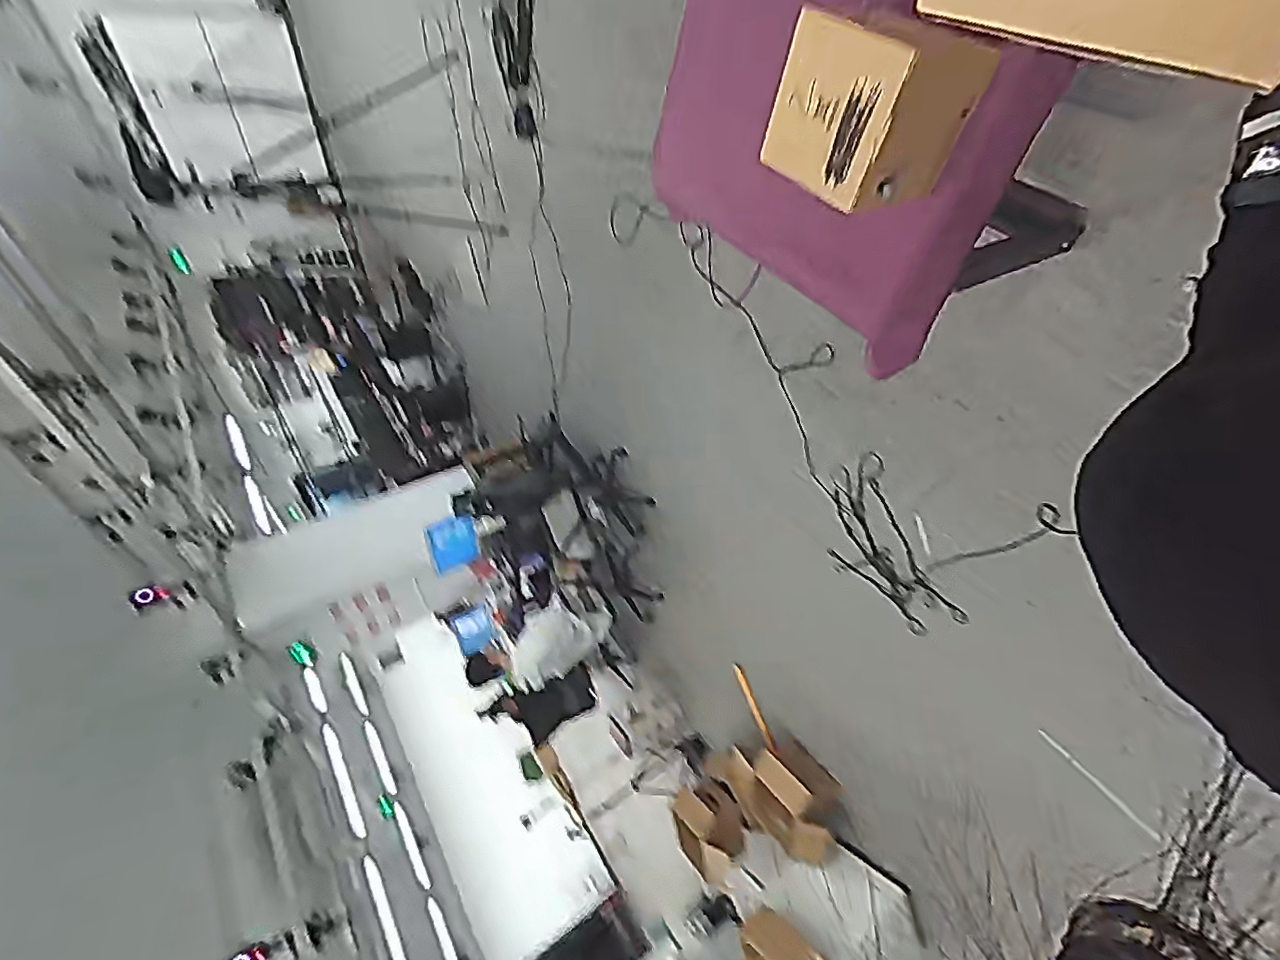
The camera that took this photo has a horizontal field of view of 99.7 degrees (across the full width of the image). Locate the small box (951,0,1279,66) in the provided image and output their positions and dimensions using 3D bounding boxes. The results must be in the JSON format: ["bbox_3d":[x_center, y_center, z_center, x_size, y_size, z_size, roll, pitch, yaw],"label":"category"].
[{"bbox_3d":[0.259,-0.315,0.207,0.179,0.168,0.176,38,171,25],"label":"small box"}]
